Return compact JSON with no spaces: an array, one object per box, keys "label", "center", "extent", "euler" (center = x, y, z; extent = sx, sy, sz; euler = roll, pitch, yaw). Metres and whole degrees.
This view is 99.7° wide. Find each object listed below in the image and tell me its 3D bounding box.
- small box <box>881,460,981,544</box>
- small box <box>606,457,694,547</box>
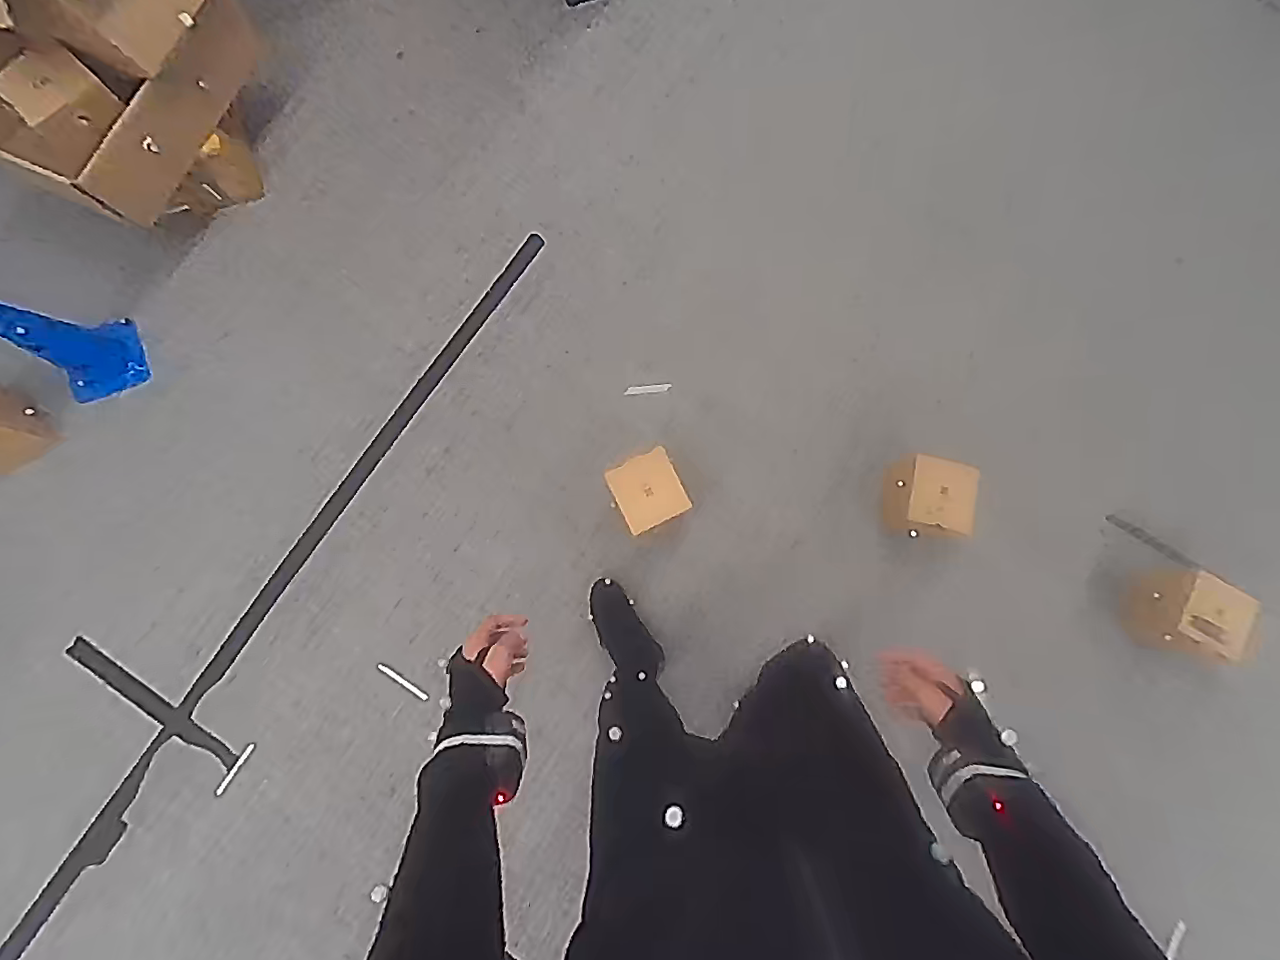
[{"label":"small box","center":[0.766,0.064,1.437],"extent":[0.168,0.176,0.179],"euler":[13,80,1]},{"label":"small box","center":[0.023,0.063,1.410],"extent":[0.168,0.176,0.179],"euler":[-26,82,-6]}]
